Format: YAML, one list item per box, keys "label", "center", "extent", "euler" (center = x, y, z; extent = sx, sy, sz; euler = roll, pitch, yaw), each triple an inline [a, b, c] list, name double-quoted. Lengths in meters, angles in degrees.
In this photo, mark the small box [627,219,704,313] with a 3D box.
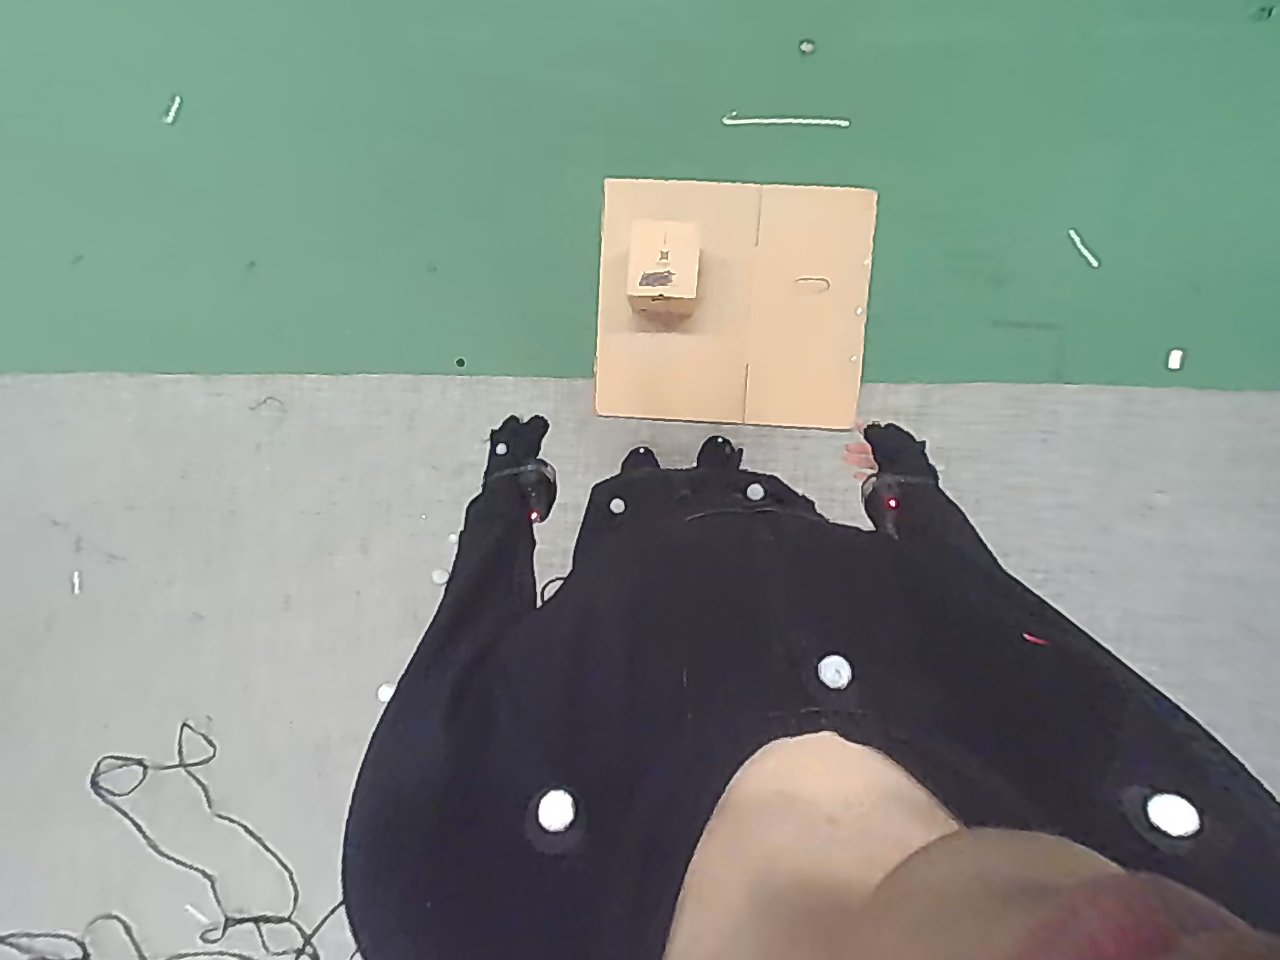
- label: "small box"
  center: [0.065, -0.515, 1.323]
  extent: [0.168, 0.176, 0.179]
  euler: [5, 95, 3]
